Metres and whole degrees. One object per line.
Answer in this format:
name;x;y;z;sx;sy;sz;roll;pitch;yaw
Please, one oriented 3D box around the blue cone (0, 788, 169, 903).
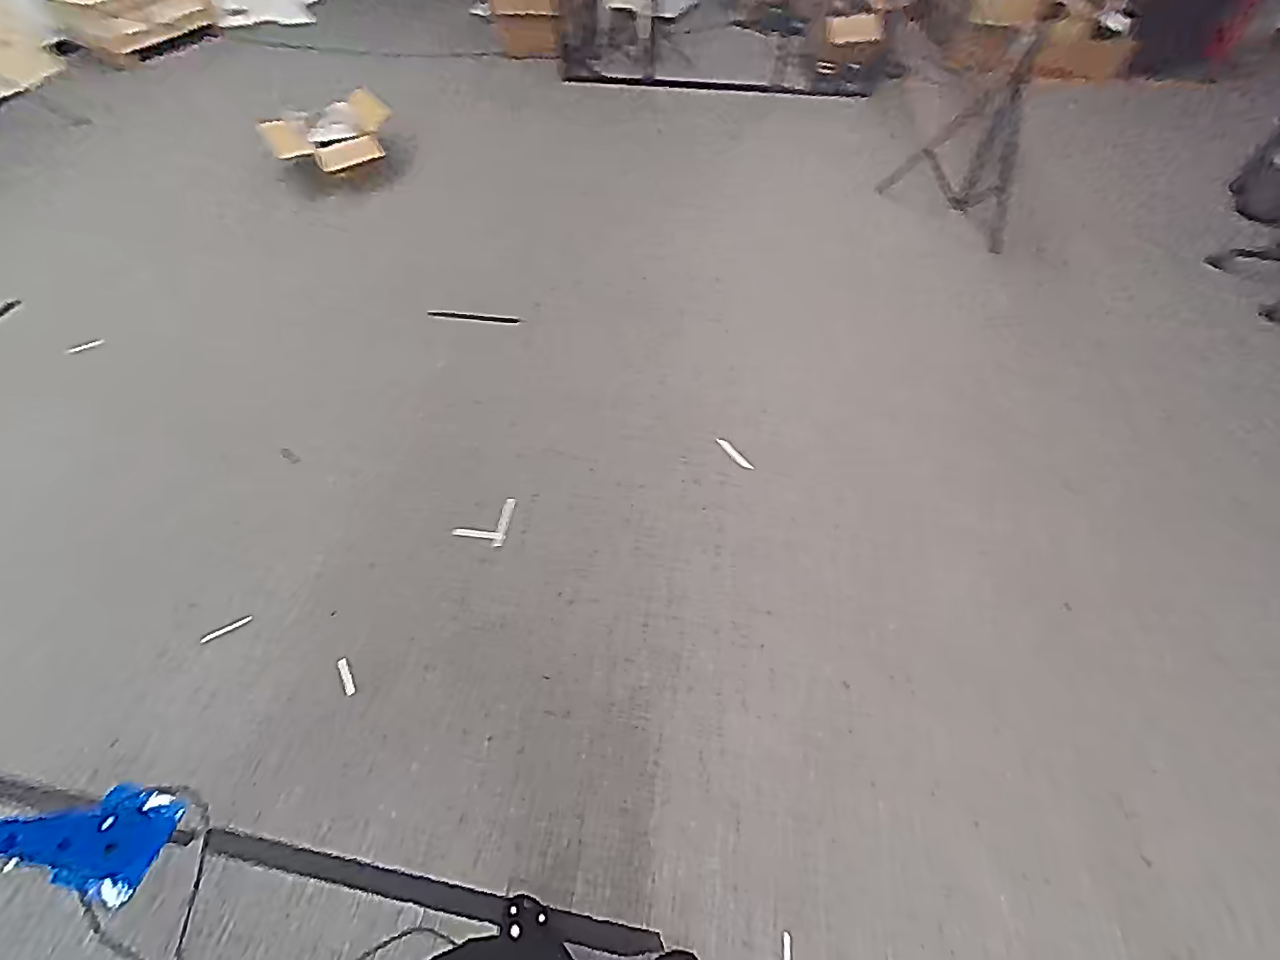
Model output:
blue cone;-1.165;0.708;1.056;0.192;0.380;0.193;11;56;7
